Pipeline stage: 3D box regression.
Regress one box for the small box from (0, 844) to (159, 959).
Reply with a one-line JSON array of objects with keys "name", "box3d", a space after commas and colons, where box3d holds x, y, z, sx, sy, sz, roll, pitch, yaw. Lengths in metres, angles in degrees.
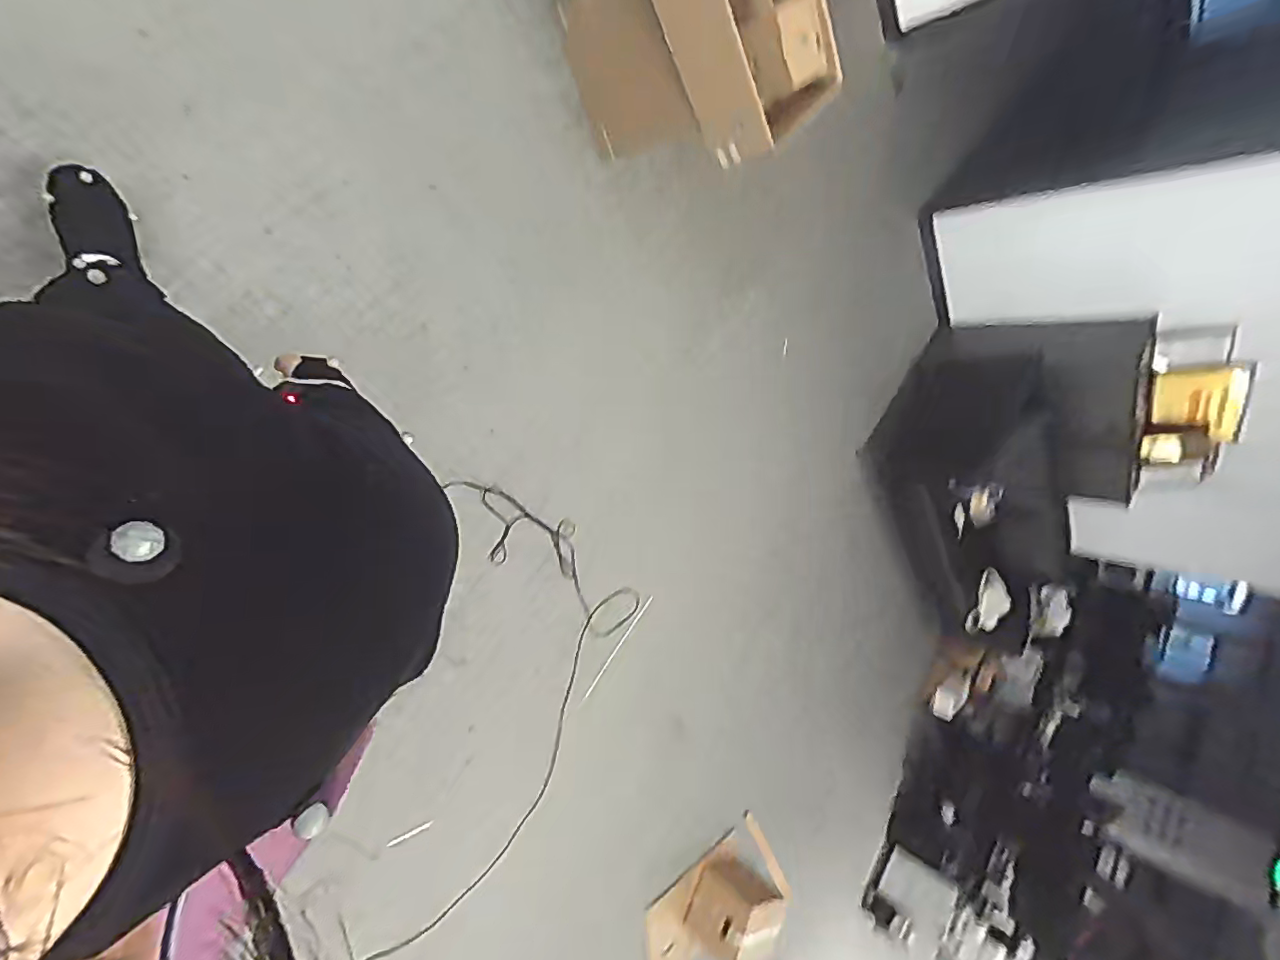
[{"name": "small box", "box3d": [-0.624, 0.502, 0.532, 0.168, 0.176, 0.179, -53, 129, -18]}]
